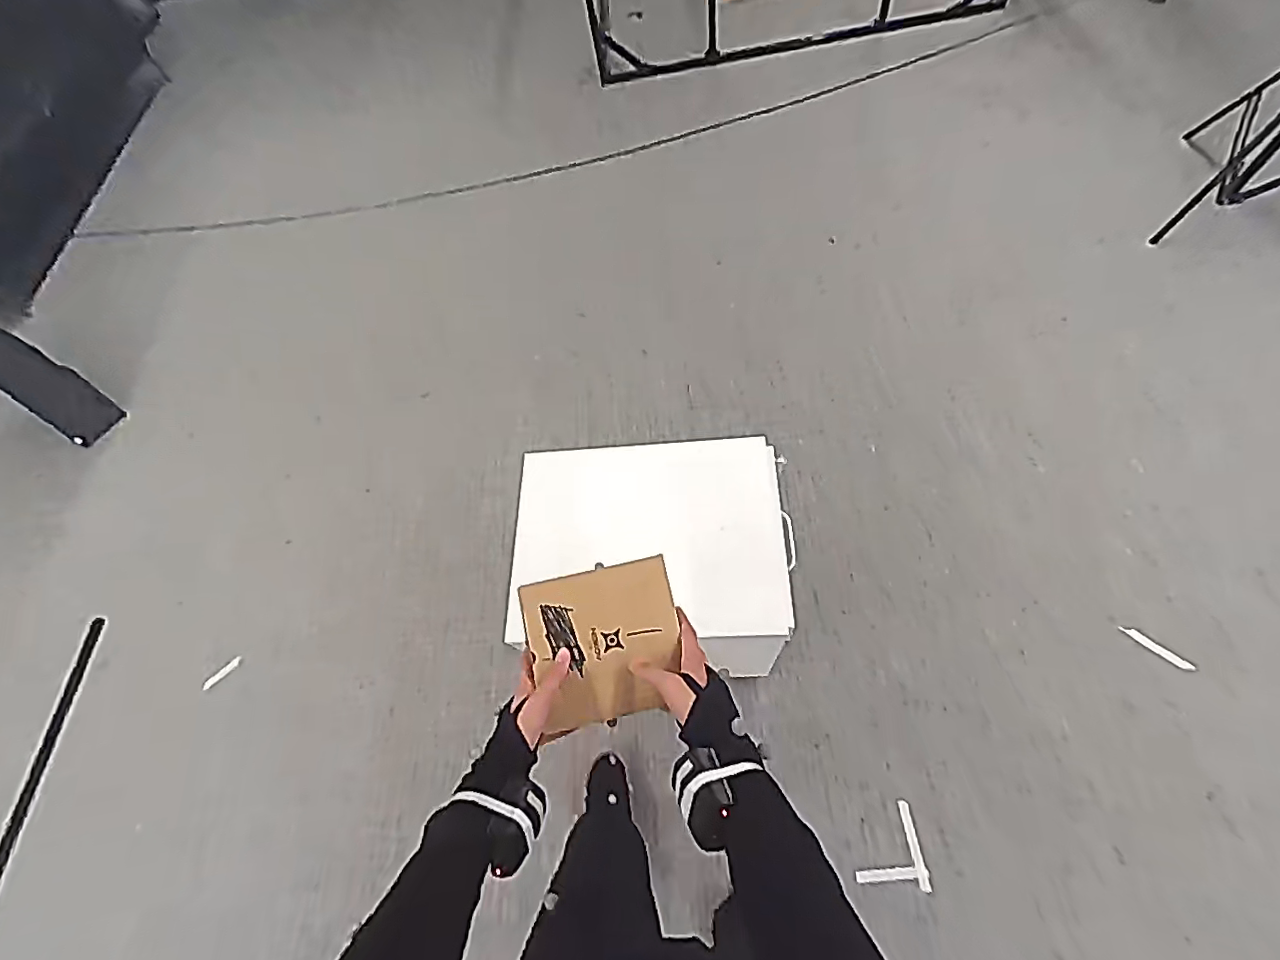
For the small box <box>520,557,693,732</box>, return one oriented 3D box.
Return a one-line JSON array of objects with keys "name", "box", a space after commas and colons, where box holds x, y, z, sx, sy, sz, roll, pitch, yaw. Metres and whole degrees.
[{"name": "small box", "box": [-0.041, 0.205, 0.690, 0.179, 0.176, 0.168, -12, 75, -4]}]
